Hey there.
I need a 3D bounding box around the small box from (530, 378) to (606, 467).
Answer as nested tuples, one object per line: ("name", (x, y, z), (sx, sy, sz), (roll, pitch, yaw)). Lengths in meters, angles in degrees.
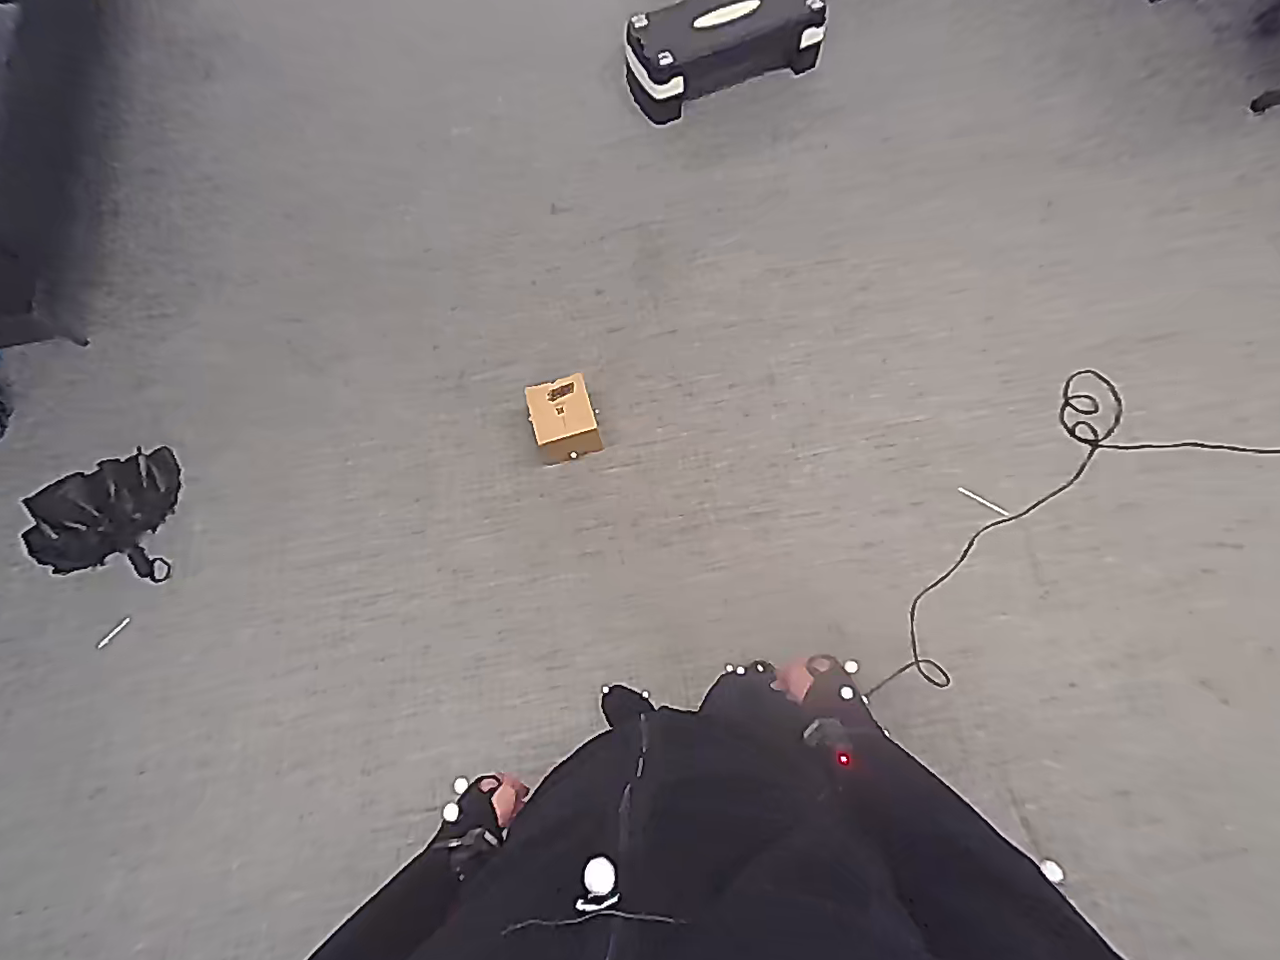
("small box", (-0.200, -0.158, 1.534), (0.168, 0.176, 0.179), (-16, 72, -2))
